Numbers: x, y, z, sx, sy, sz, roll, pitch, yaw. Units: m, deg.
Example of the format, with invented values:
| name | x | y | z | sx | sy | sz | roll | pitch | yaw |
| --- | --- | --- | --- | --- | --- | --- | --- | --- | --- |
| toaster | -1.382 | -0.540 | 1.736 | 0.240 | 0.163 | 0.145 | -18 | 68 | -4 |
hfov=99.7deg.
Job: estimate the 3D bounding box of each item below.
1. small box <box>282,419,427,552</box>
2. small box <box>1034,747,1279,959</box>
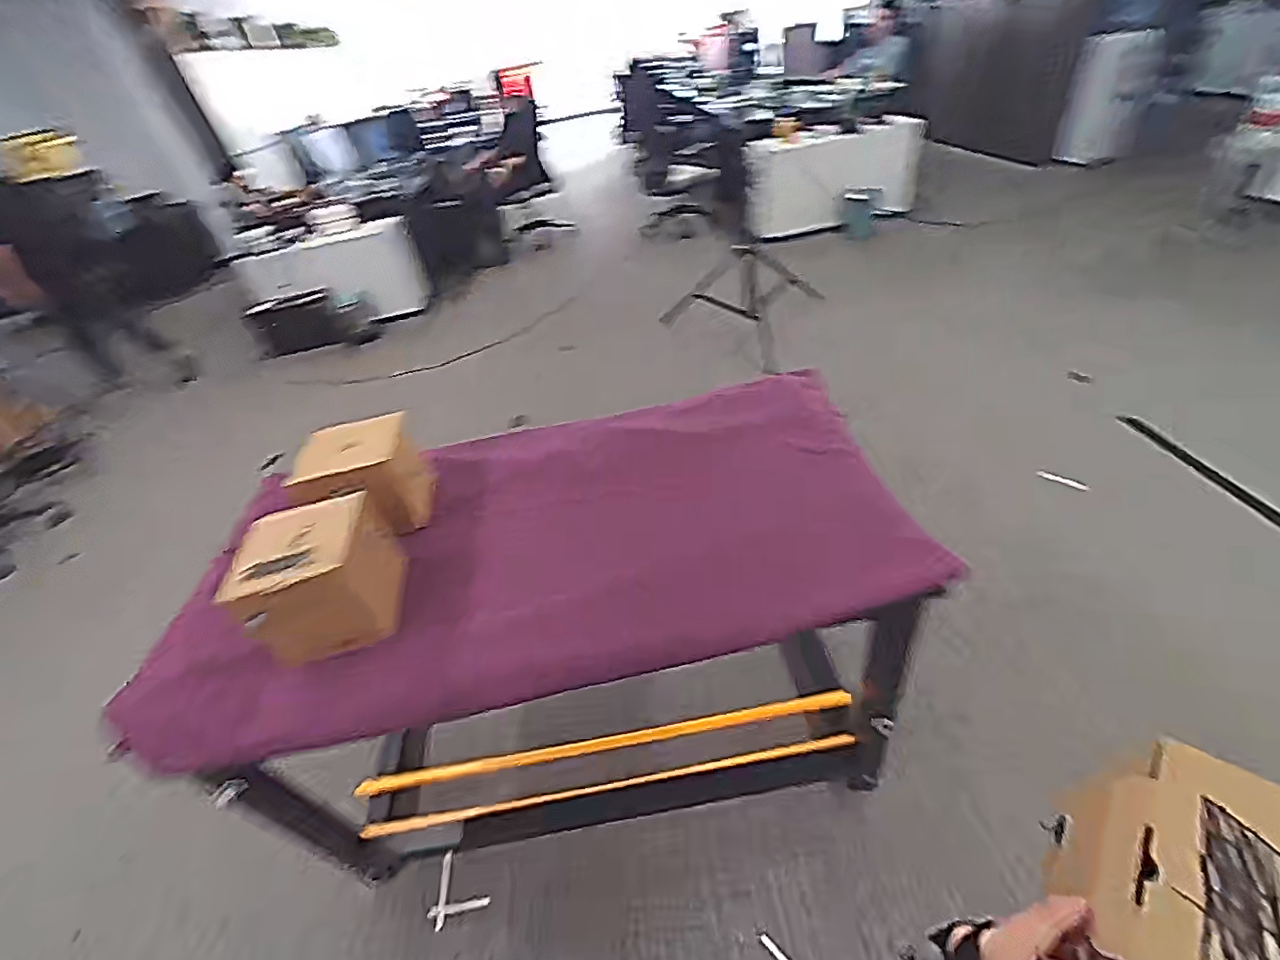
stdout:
| name | x | y | z | sx | sy | sz | roll | pitch | yaw |
| --- | --- | --- | --- | --- | --- | --- | --- | --- | --- |
| small box | -0.529 | 0.012 | 1.036 | 0.179 | 0.176 | 0.168 | -14 | 40 | -3 |
| small box | 0.360 | 0.301 | 0.311 | 0.179 | 0.176 | 0.168 | 24 | 57 | 31 |
